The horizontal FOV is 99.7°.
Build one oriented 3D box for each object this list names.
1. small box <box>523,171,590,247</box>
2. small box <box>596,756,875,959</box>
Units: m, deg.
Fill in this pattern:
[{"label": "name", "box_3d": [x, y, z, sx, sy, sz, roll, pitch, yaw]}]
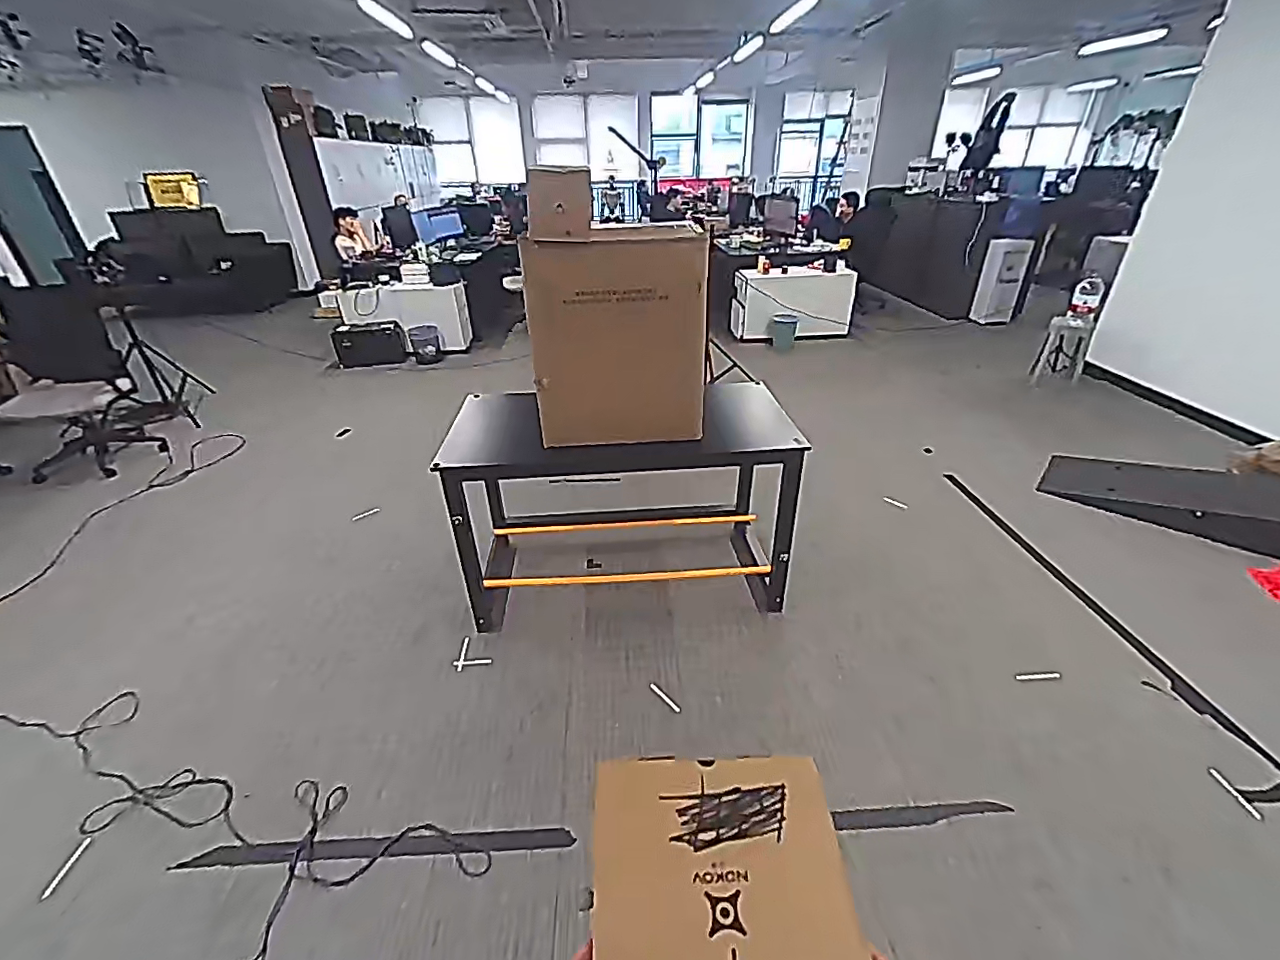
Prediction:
[{"label": "small box", "box_3d": [-0.221, -0.734, 1.461, 0.168, 0.176, 0.179, -2, 33, -7]}, {"label": "small box", "box_3d": [0.052, 0.325, 0.385, 0.168, 0.176, 0.179, 0, 37, -3]}]
